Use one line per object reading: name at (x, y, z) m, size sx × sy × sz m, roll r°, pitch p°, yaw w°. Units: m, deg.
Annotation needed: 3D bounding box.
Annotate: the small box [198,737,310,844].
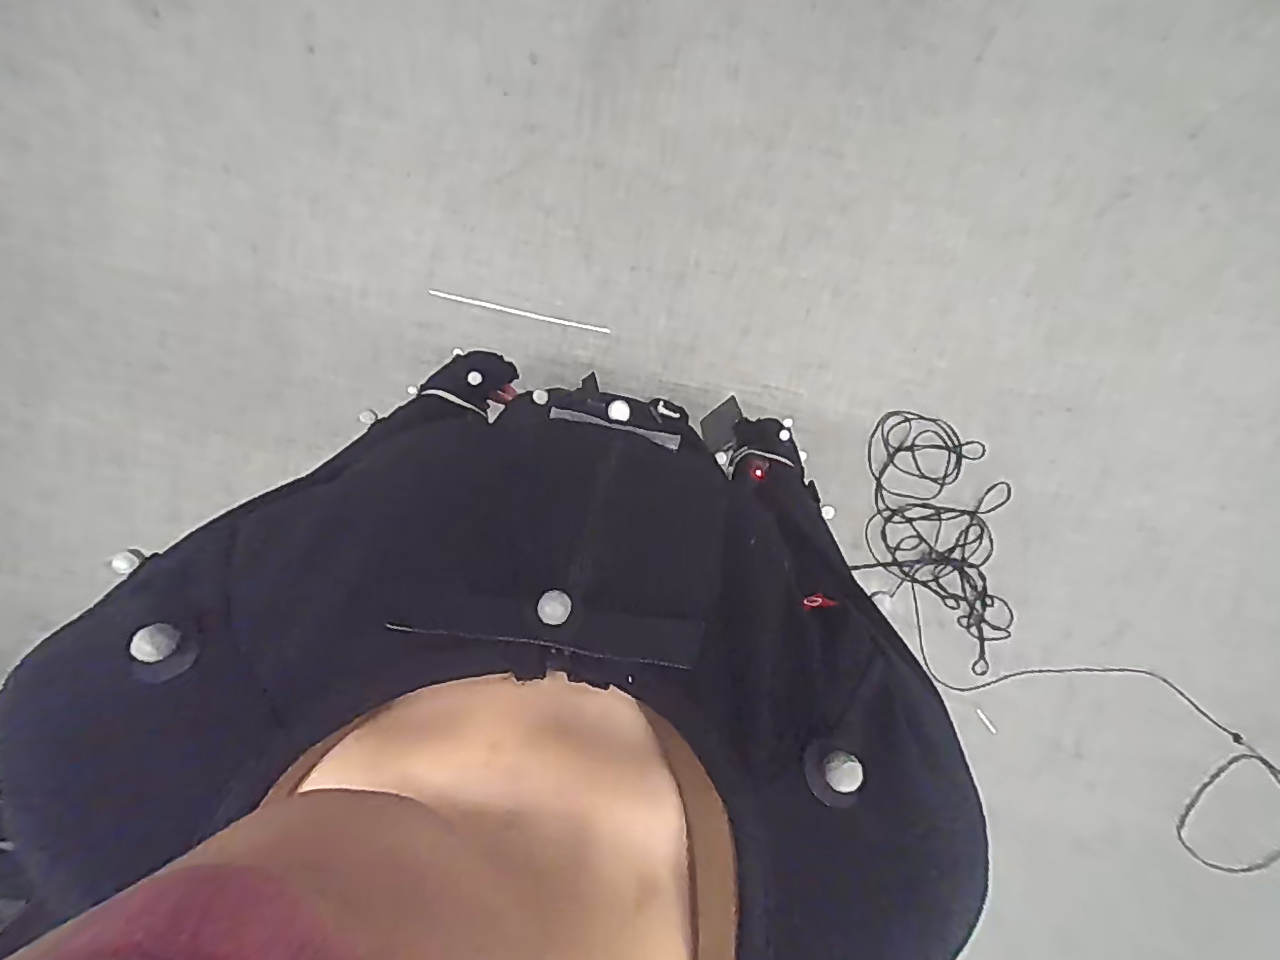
small box at (-1.020, 0.820, 1.443) m, size 0.179 × 0.176 × 0.168 m, roll 15°, pitch 99°, yaw -3°
